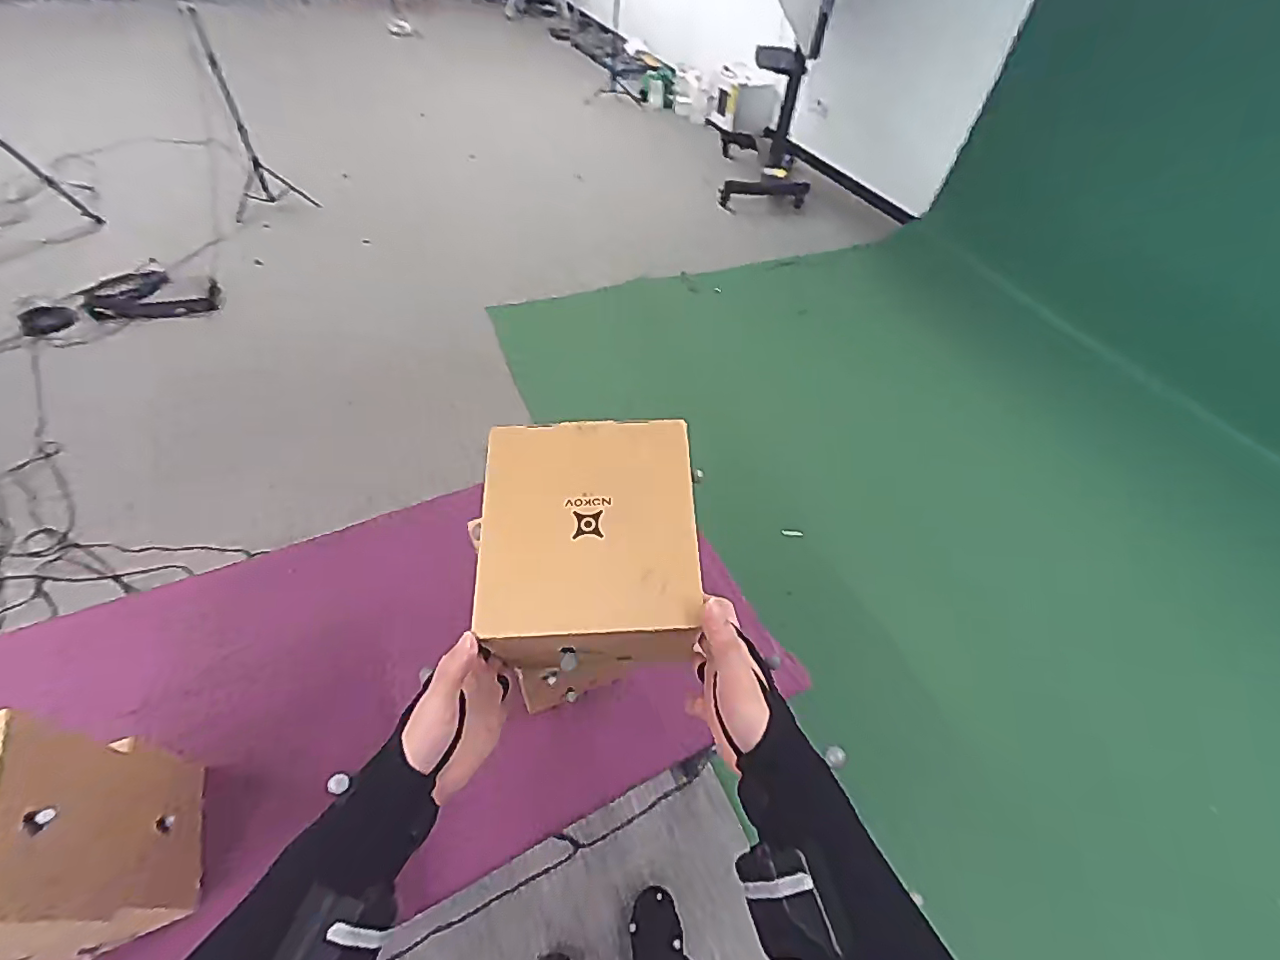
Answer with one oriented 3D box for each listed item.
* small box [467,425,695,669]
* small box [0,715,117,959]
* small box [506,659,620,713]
[{"bbox_3d":[-0.042,0.070,0.486,0.168,0.176,0.179,-2,63,-1],"label":"small box"},{"bbox_3d":[-0.623,0.348,0.486,0.168,0.176,0.179,-19,56,-21],"label":"small box"},{"bbox_3d":[-0.135,0.234,0.855,0.168,0.176,0.179,-18,54,-18],"label":"small box"}]
